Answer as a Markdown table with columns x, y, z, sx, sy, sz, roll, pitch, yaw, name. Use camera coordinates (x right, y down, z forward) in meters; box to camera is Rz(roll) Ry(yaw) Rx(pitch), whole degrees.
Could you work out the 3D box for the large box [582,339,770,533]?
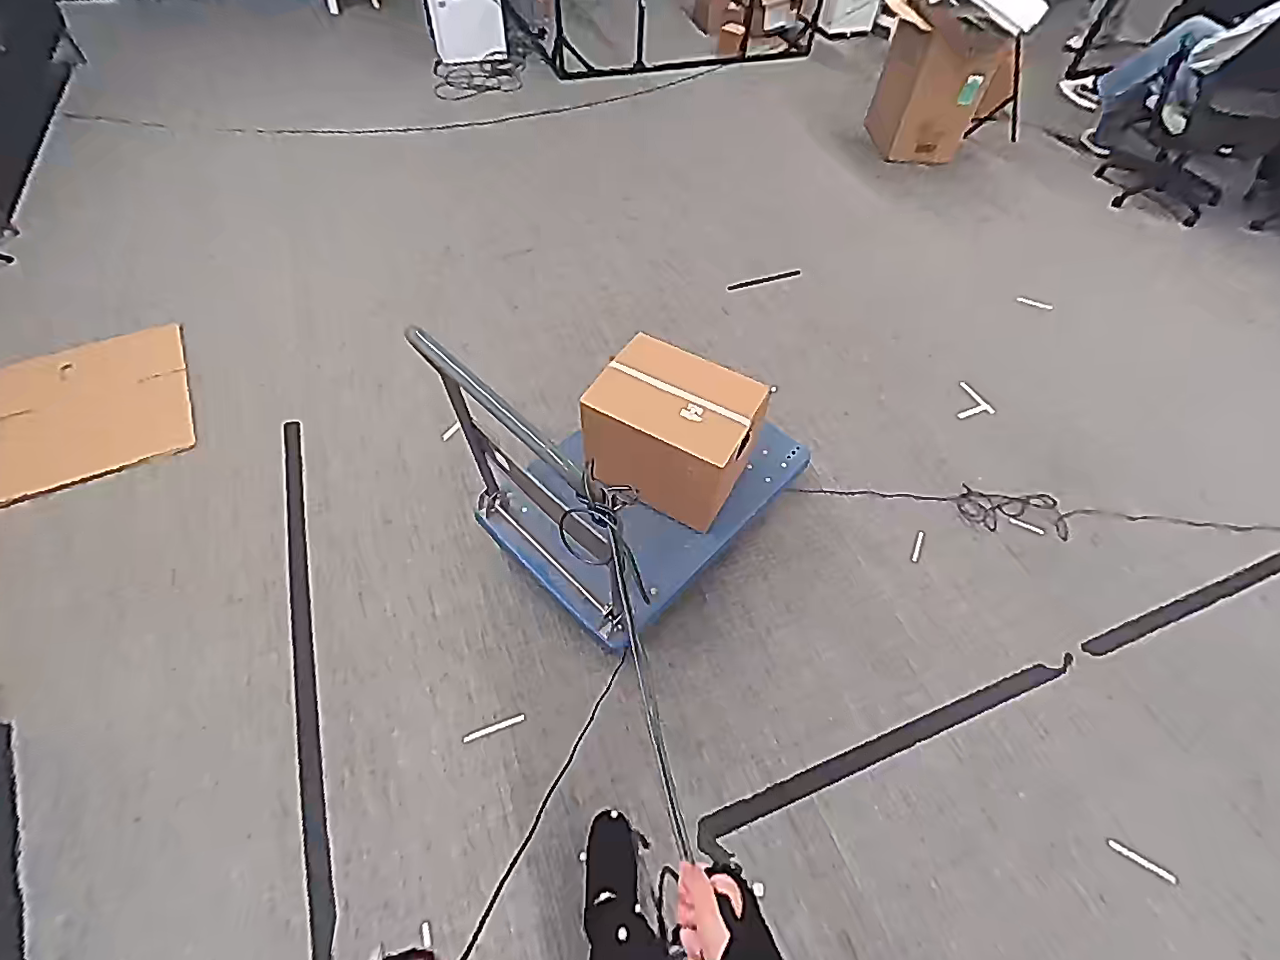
| x | y | z | sx | sy | sz | roll | pitch | yaw | name |
| --- | --- | --- | --- | --- | --- | --- | --- | --- | --- |
| 0.086 | -0.122 | 1.498 | 0.408 | 0.320 | 0.320 | 27 | 58 | 14 | large box |
